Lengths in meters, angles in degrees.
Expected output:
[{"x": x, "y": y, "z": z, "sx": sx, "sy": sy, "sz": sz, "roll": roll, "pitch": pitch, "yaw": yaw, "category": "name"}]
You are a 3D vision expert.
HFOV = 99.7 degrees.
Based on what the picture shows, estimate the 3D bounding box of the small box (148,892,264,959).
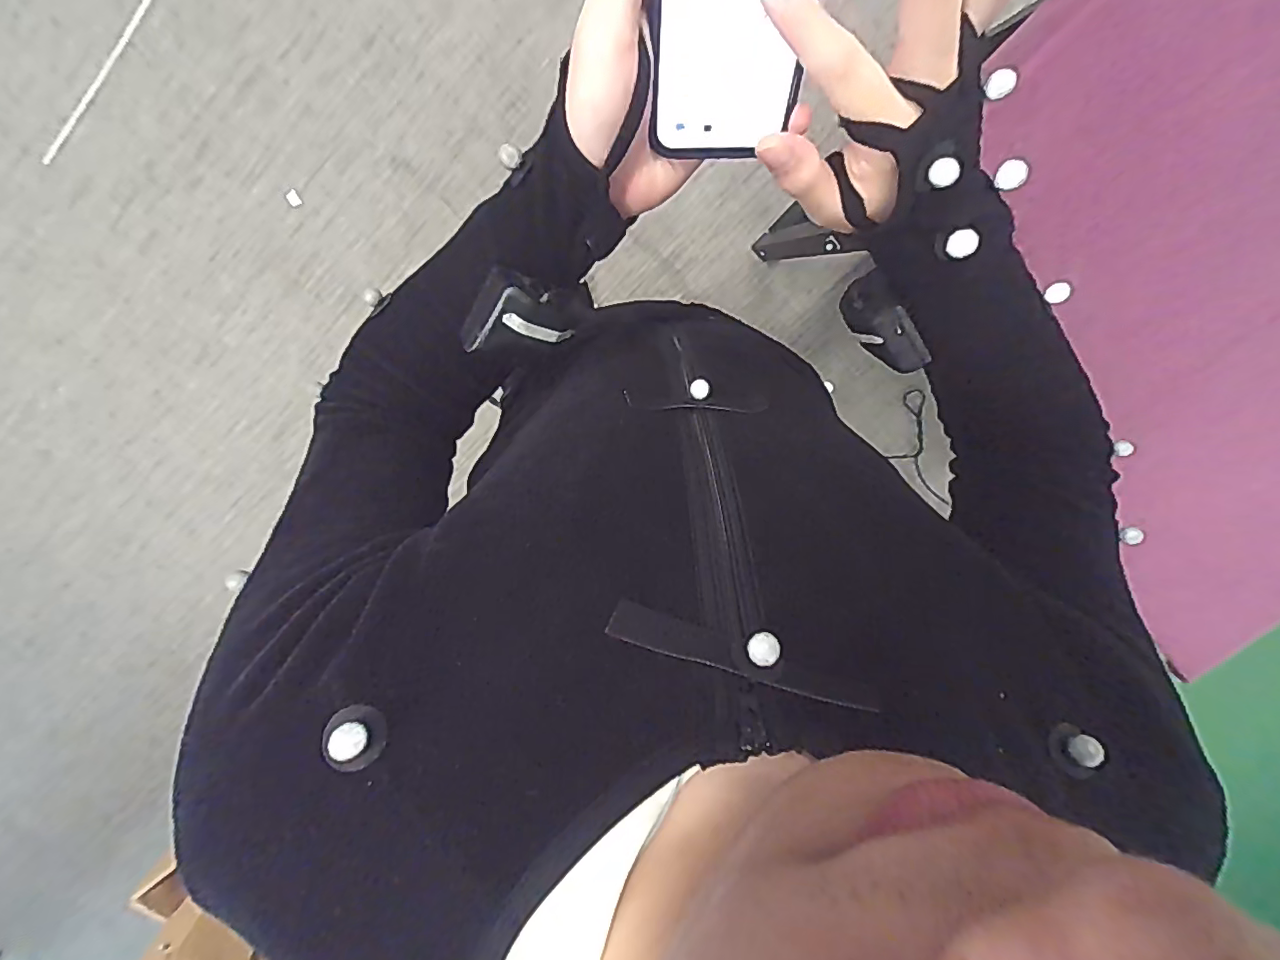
[{"x": -1.046, "y": 1.135, "z": 1.284, "sx": 0.179, "sy": 0.176, "sz": 0.168, "roll": -36, "pitch": 107, "yaw": 9, "category": "small box"}]
